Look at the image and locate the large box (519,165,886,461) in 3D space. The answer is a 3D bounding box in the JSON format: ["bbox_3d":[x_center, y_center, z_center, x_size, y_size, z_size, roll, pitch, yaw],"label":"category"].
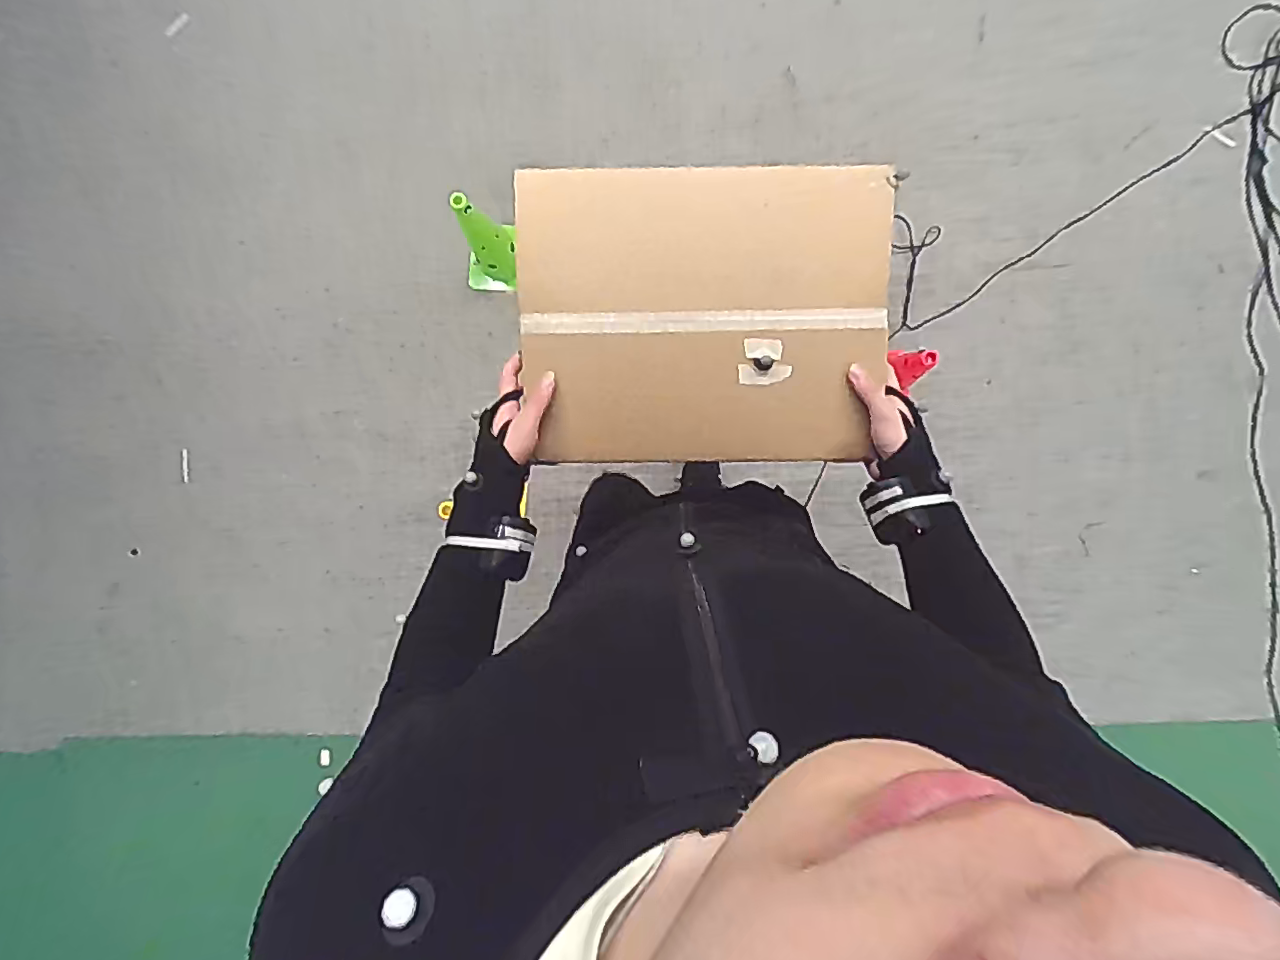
[{"bbox_3d":[0.070,-0.204,0.751,0.408,0.320,0.320,-1,100,0],"label":"large box"}]

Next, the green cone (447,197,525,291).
[{"bbox_3d":[-0.441,-0.677,1.485,0.200,0.368,0.202,3,92,4],"label":"green cone"}]
